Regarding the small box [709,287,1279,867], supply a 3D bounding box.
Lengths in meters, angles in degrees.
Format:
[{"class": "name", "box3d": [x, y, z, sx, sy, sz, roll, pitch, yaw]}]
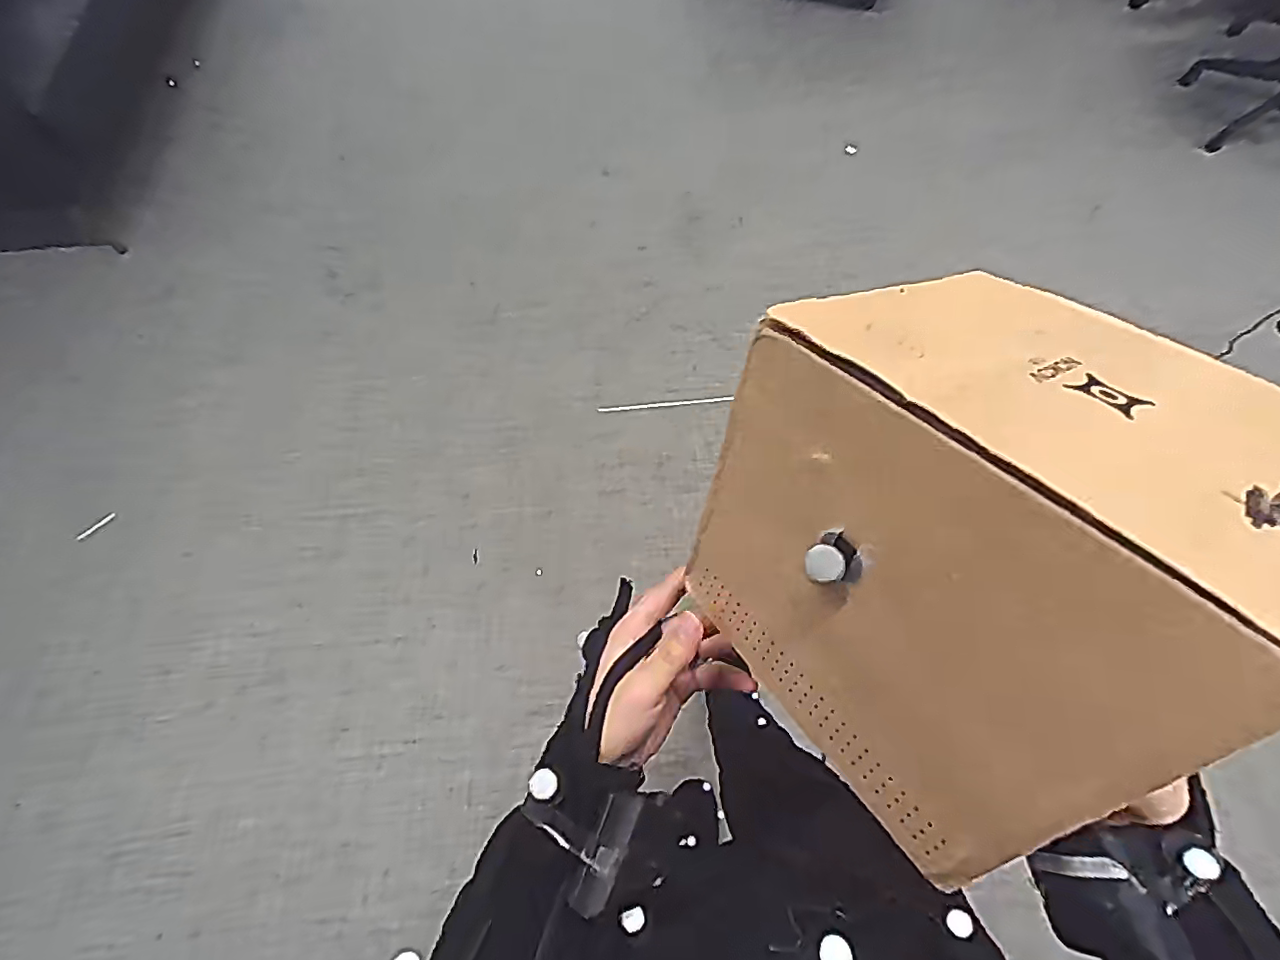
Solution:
[{"class": "small box", "box3d": [0.155, 0.030, 0.255, 0.168, 0.176, 0.179, -20, 48, -29]}]
